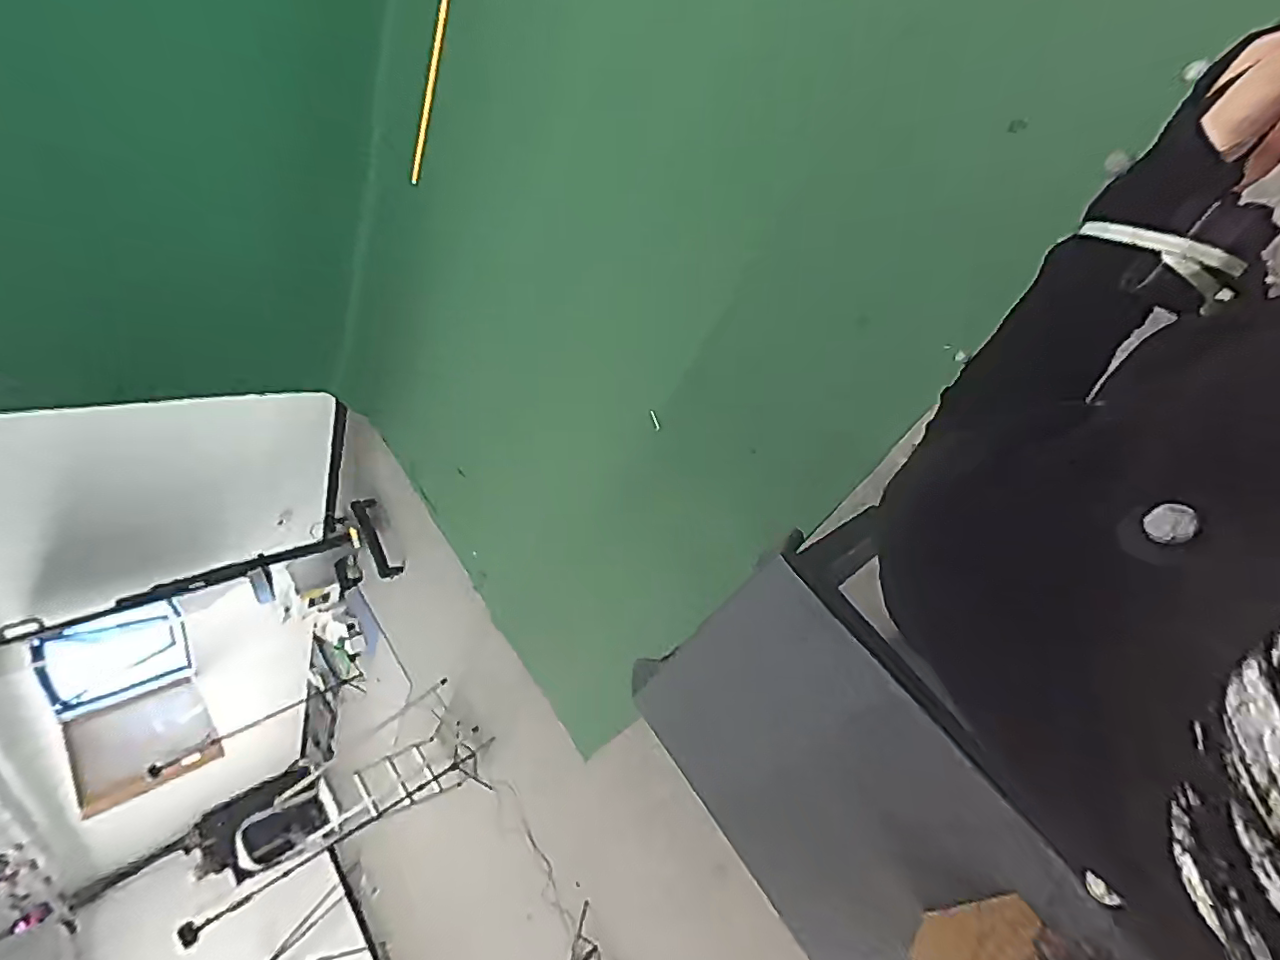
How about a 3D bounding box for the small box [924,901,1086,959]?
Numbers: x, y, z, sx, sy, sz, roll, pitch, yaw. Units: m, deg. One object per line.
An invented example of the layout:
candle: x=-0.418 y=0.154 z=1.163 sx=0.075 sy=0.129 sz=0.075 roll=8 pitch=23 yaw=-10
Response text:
small box: x=0.497 y=0.705 z=0.711 sx=0.168 sy=0.176 sz=0.179 roll=50 pitch=131 yaw=22
